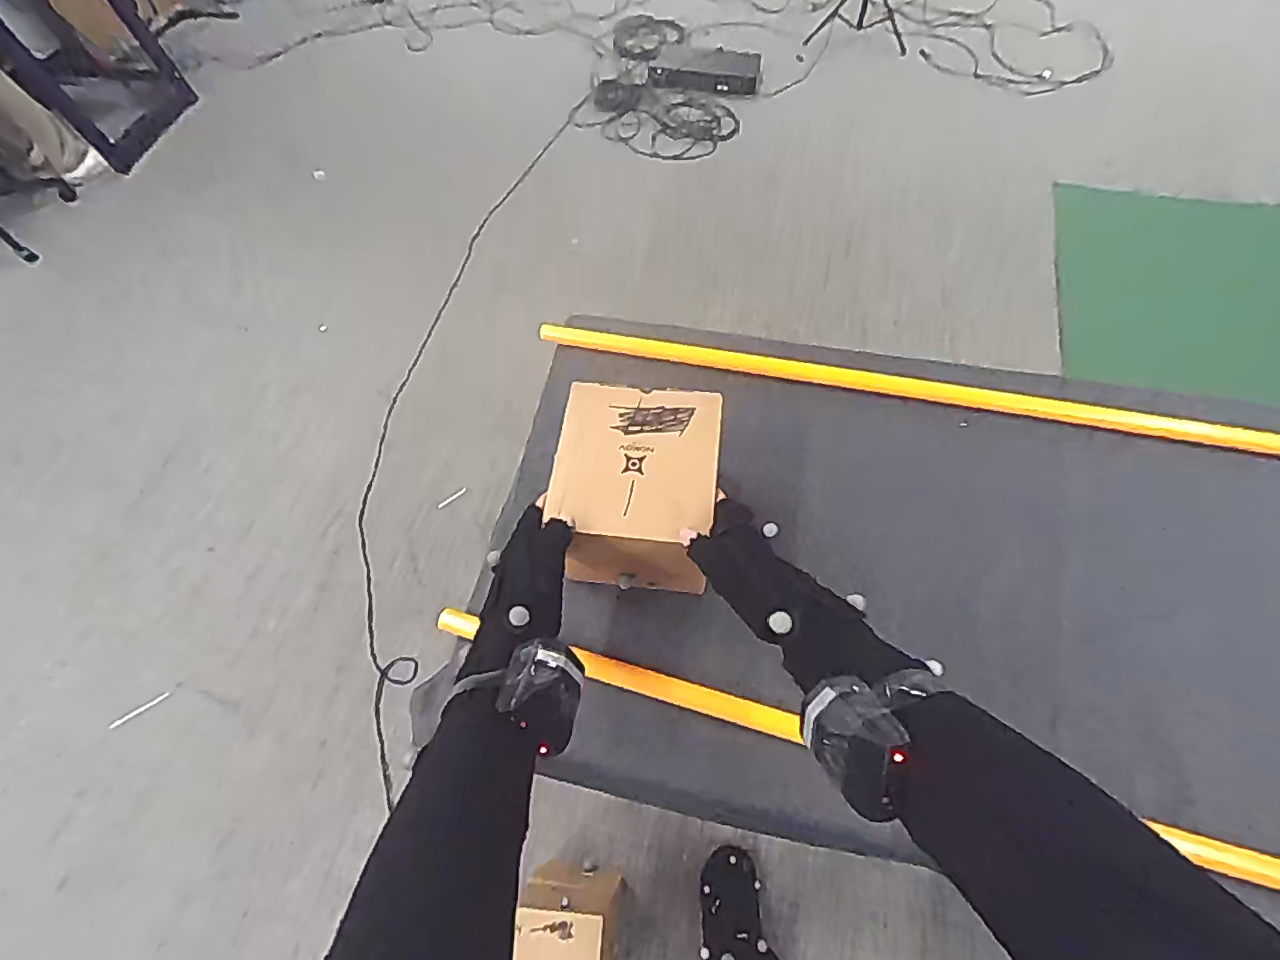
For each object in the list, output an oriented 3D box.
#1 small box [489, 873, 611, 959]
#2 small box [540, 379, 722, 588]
[{"bbox_3d":[-0.141,0.769,0.881,0.168,0.176,0.179,-1,63,5],"label":"small box"},{"bbox_3d":[-0.001,0.009,0.617,0.168,0.176,0.179,5,64,6],"label":"small box"}]
